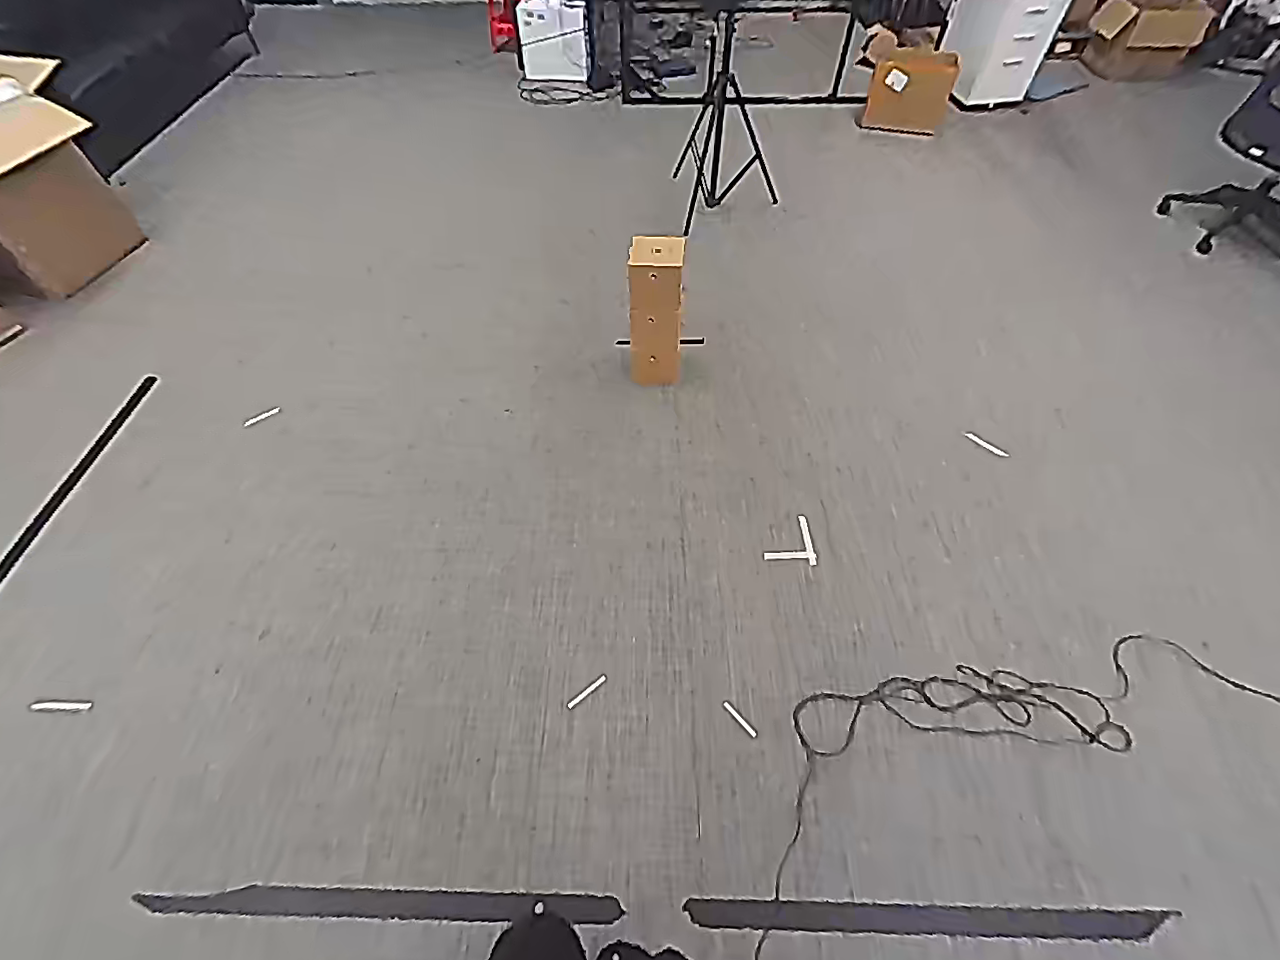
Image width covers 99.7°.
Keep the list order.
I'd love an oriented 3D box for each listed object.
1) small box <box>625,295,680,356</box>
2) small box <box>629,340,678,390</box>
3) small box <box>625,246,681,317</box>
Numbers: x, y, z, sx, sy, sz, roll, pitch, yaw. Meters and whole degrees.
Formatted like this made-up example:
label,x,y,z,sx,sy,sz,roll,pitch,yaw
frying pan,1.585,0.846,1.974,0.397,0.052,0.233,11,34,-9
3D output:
label,x,y,z,sx,sy,sz,roll,pitch,yaw
small box,0.049,-0.565,1.951,0.179,0.176,0.168,6,55,6
small box,0.052,-0.461,2.079,0.179,0.176,0.168,4,54,4
small box,0.046,-0.667,1.825,0.179,0.176,0.168,4,55,3
